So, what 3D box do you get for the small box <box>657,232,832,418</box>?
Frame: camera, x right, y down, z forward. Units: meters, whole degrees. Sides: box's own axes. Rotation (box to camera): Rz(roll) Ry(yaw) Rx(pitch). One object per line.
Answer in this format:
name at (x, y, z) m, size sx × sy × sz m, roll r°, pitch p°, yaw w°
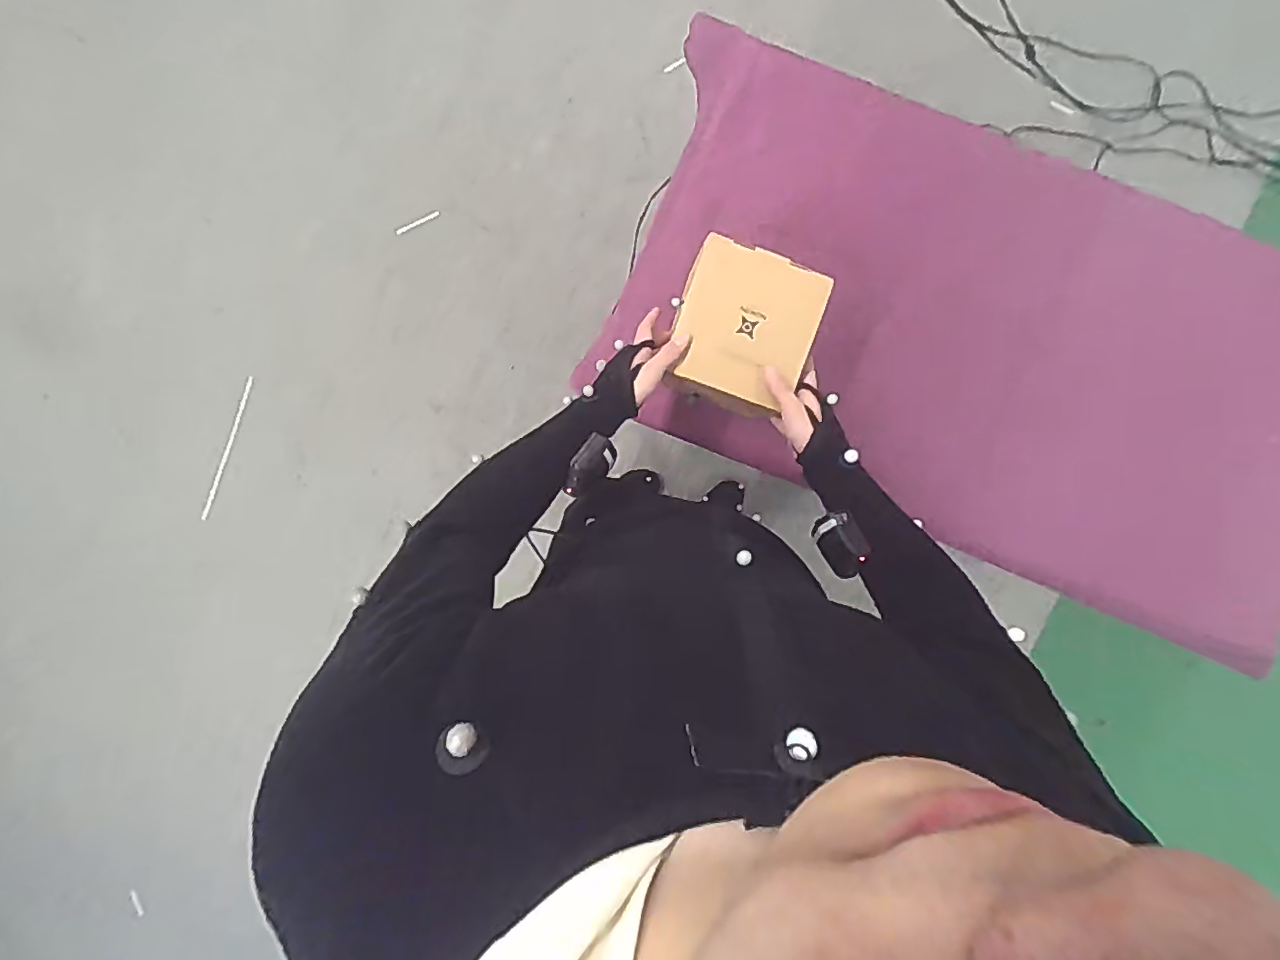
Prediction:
small box at (0.125, -0.193, 0.730) m, size 0.168 × 0.176 × 0.179 m, roll 20°, pitch 94°, yaw -2°
